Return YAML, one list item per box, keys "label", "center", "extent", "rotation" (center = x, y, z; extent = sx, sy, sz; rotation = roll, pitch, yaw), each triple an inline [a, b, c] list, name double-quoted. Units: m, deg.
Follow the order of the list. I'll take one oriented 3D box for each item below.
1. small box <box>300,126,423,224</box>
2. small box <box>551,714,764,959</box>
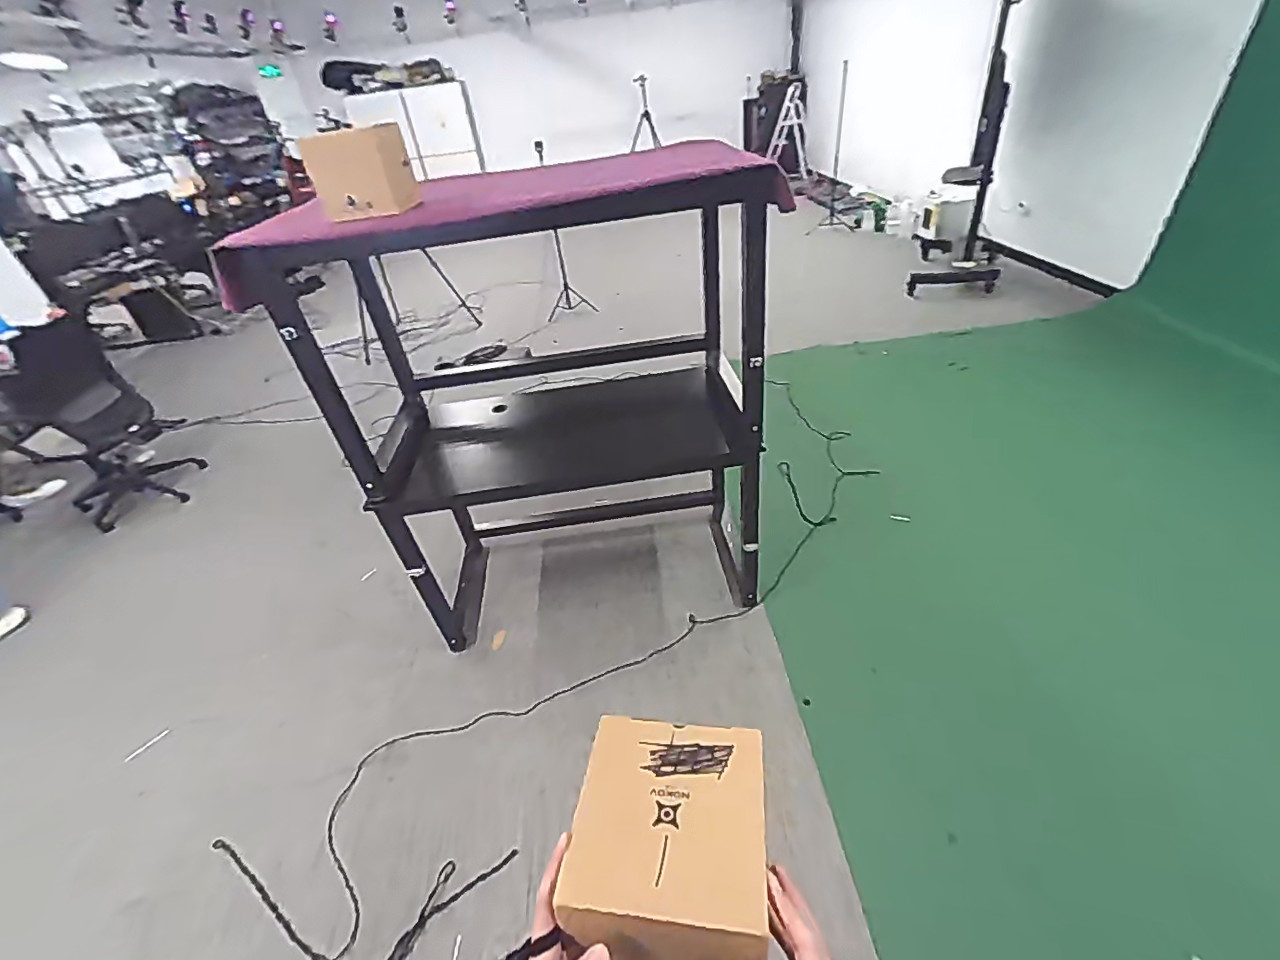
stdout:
- label: "small box"
  center: [-0.614, -0.689, 1.223]
  extent: [0.168, 0.176, 0.179]
  rotation: [-7, 36, 3]
- label: "small box"
  center: [0.029, 0.358, 0.513]
  extent: [0.168, 0.176, 0.179]
  rotation: [0, 27, 11]
